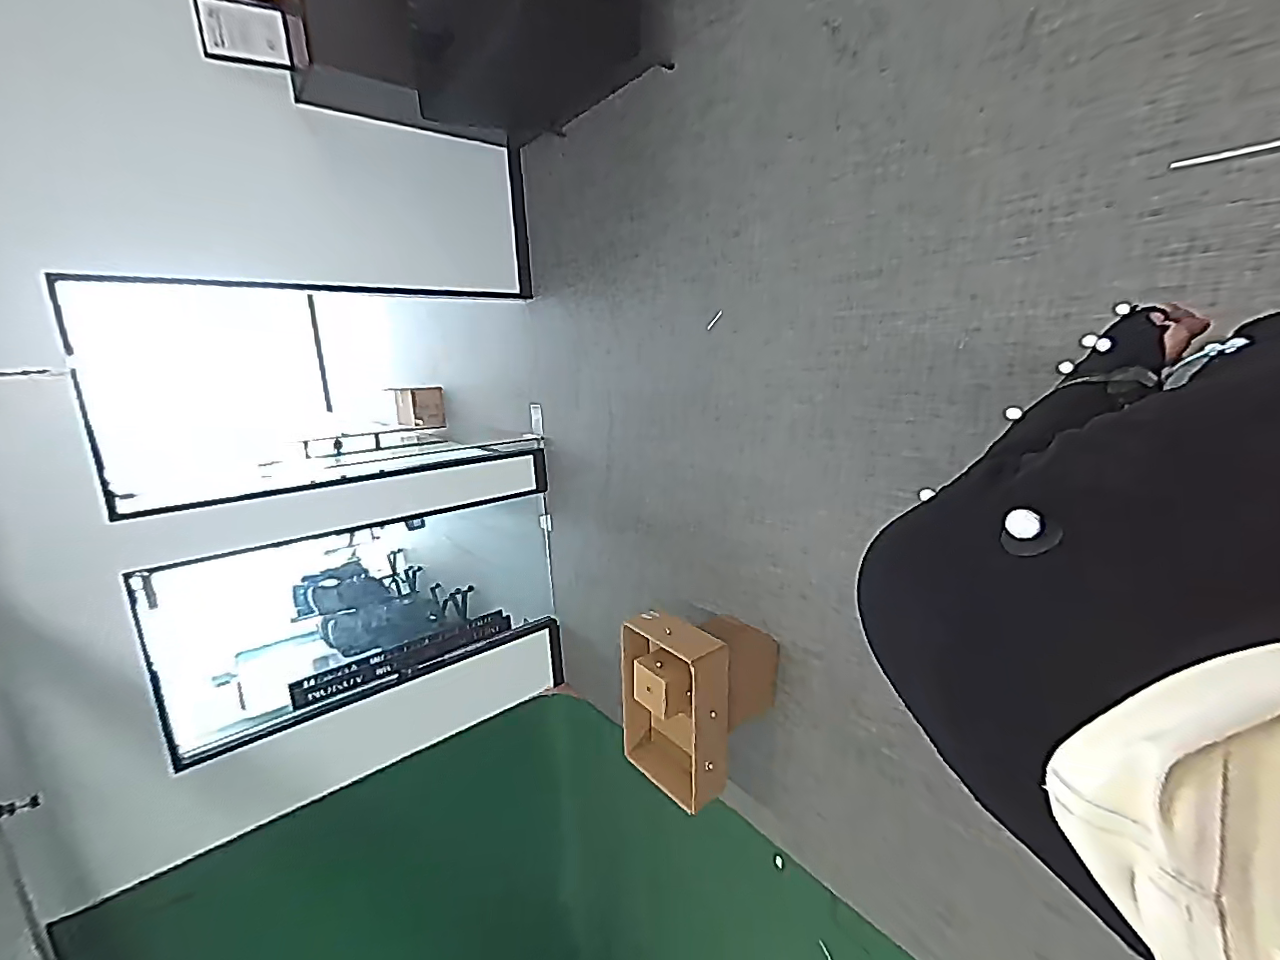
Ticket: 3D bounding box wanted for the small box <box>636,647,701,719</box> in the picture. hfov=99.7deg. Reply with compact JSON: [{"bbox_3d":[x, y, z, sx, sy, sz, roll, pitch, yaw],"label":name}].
[{"bbox_3d":[0.105,0.742,2.006,0.179,0.176,0.168,16,111,48],"label":"small box"}]
